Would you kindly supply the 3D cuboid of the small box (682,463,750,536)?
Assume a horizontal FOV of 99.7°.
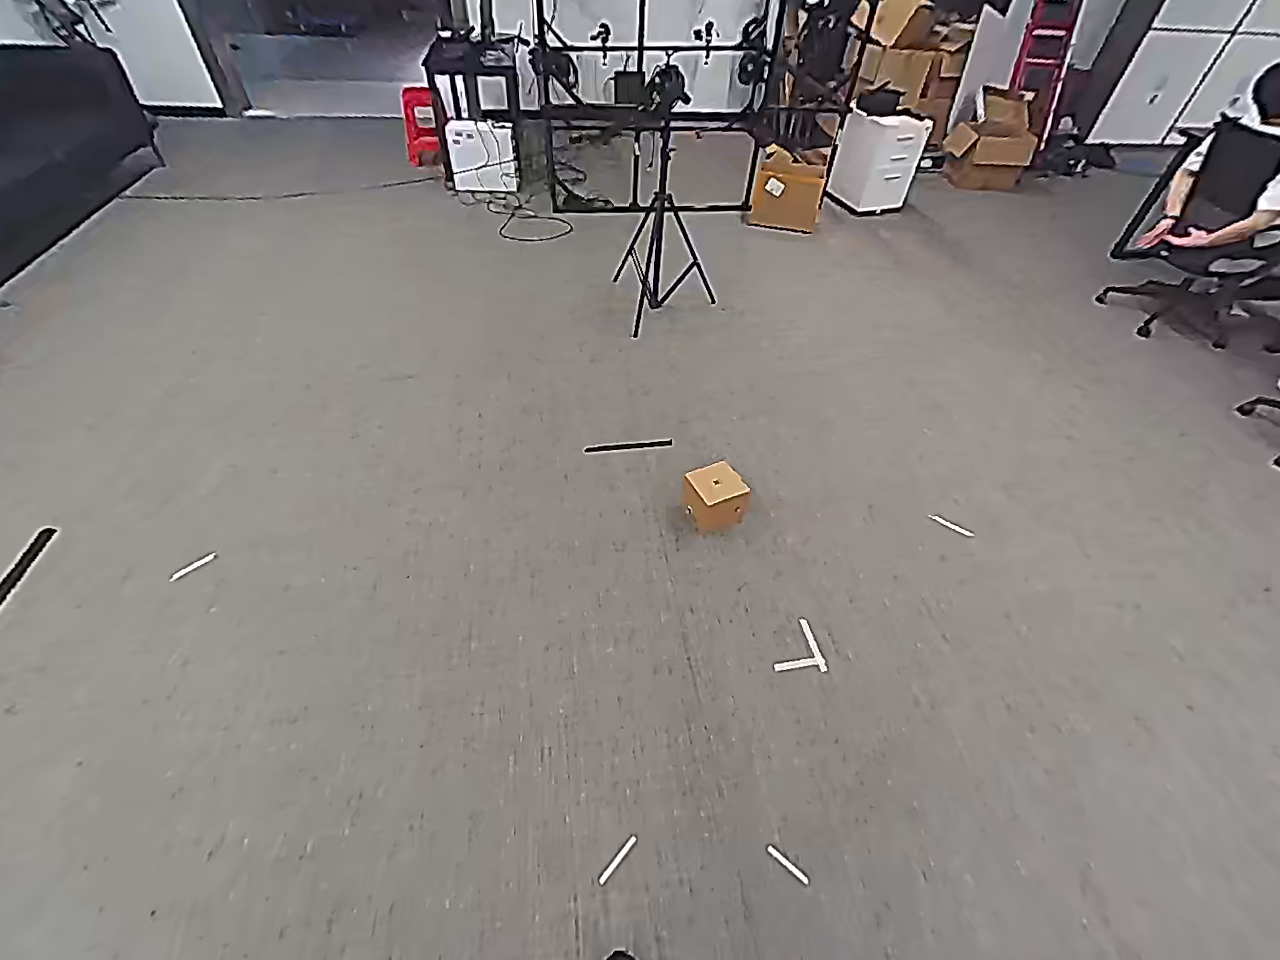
[{"bbox_3d":[0.265,0.072,1.936,0.179,0.176,0.168,-19,50,-20],"label":"small box"}]
